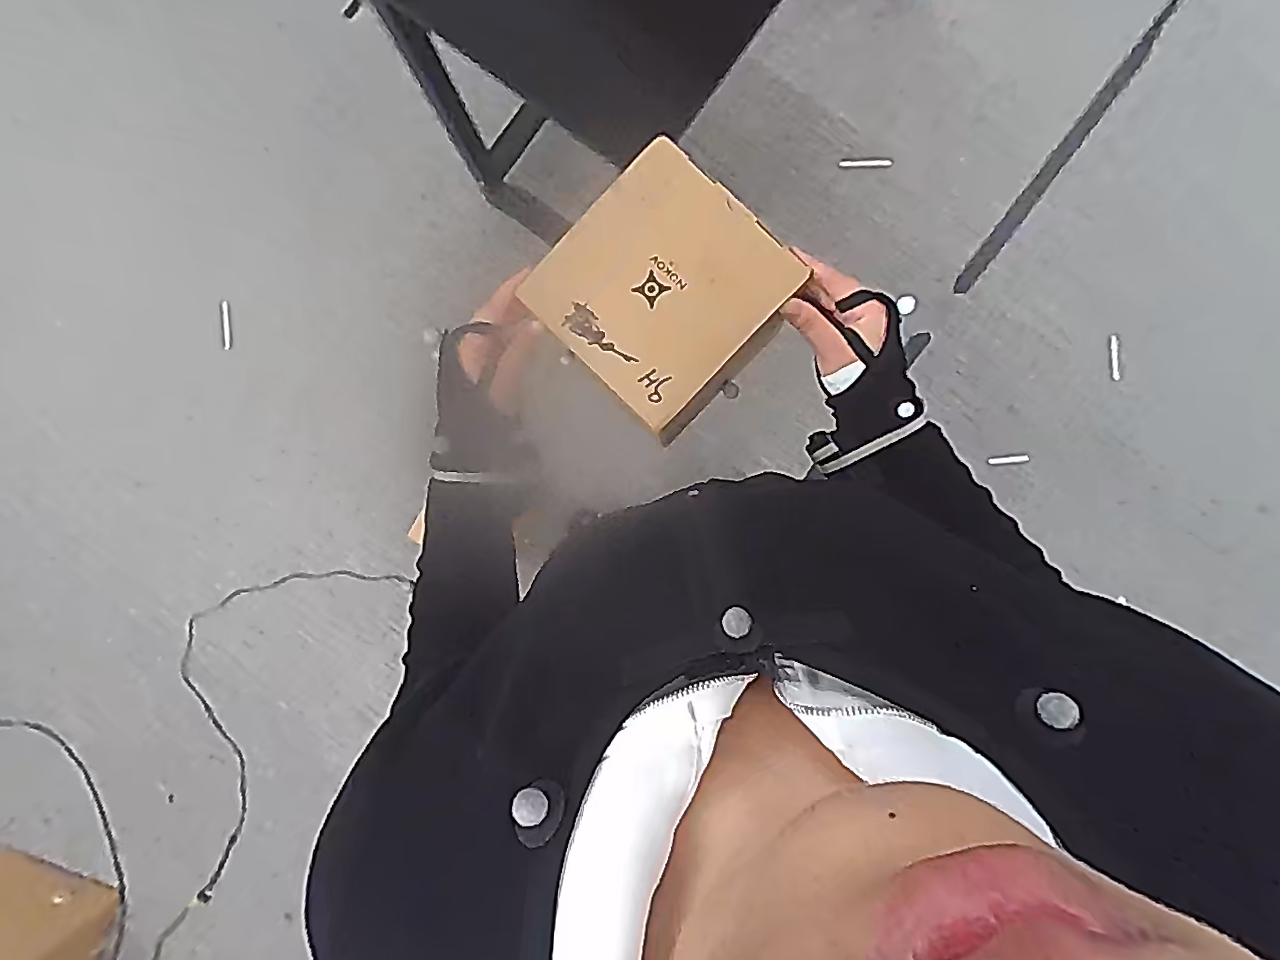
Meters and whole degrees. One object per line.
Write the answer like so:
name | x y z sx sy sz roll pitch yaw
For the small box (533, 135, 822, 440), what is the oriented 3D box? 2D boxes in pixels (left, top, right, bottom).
small box | 0.033 -0.159 0.509 0.168 0.176 0.179 45 91 6

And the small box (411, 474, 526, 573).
small box | -0.394 0.097 1.282 0.179 0.176 0.168 30 90 3

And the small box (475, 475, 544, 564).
small box | -0.382 0.102 1.444 0.179 0.176 0.168 32 91 1
